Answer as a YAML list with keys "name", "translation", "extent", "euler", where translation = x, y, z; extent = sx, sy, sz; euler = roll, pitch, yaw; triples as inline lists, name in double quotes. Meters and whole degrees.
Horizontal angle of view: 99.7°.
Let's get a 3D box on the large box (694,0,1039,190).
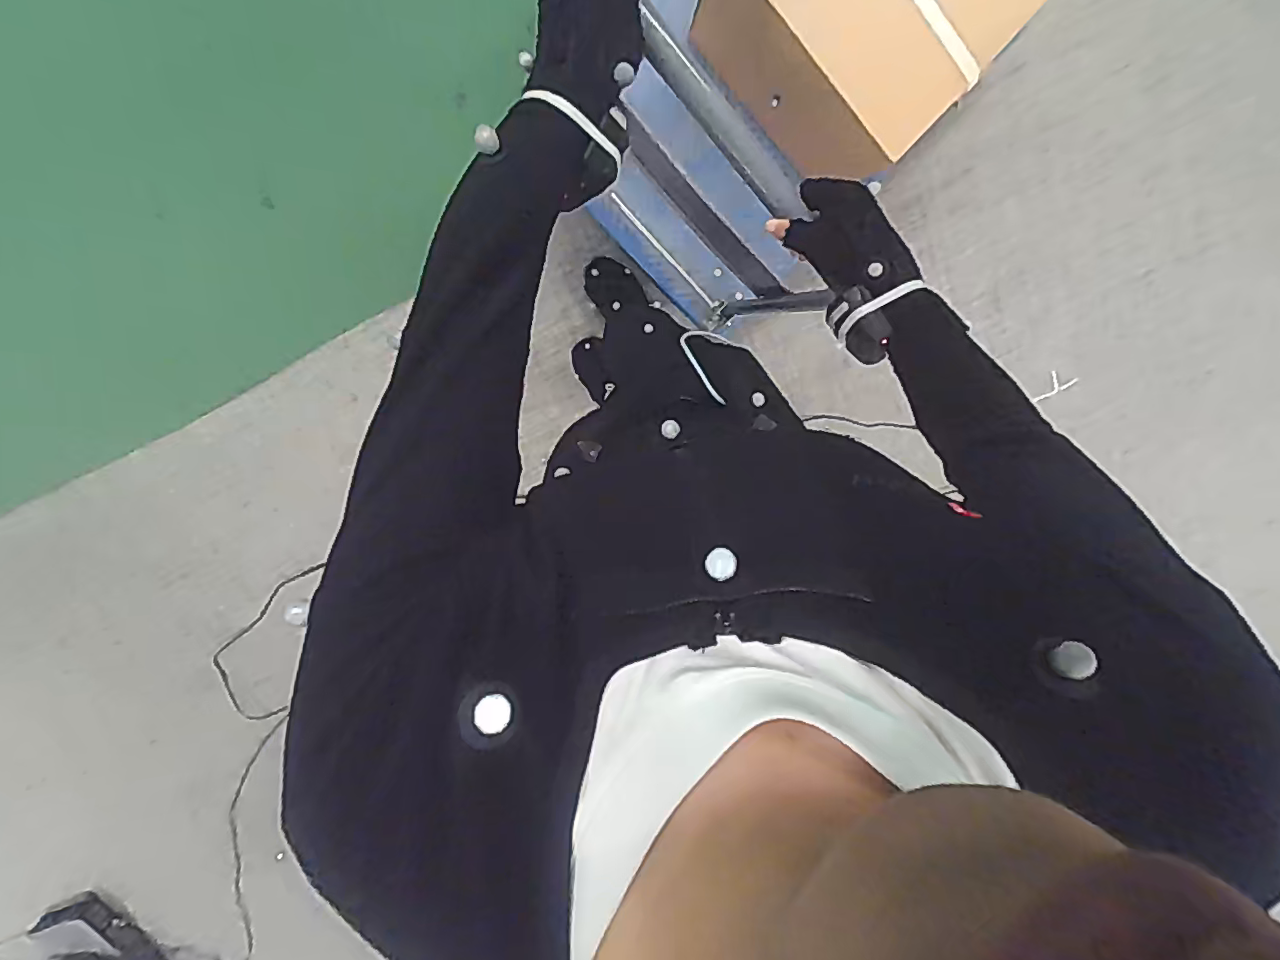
- name: "large box"
  translation: [0.354, -0.790, 0.927]
  extent: [0.408, 0.320, 0.320]
  euler: [41, 101, -15]
